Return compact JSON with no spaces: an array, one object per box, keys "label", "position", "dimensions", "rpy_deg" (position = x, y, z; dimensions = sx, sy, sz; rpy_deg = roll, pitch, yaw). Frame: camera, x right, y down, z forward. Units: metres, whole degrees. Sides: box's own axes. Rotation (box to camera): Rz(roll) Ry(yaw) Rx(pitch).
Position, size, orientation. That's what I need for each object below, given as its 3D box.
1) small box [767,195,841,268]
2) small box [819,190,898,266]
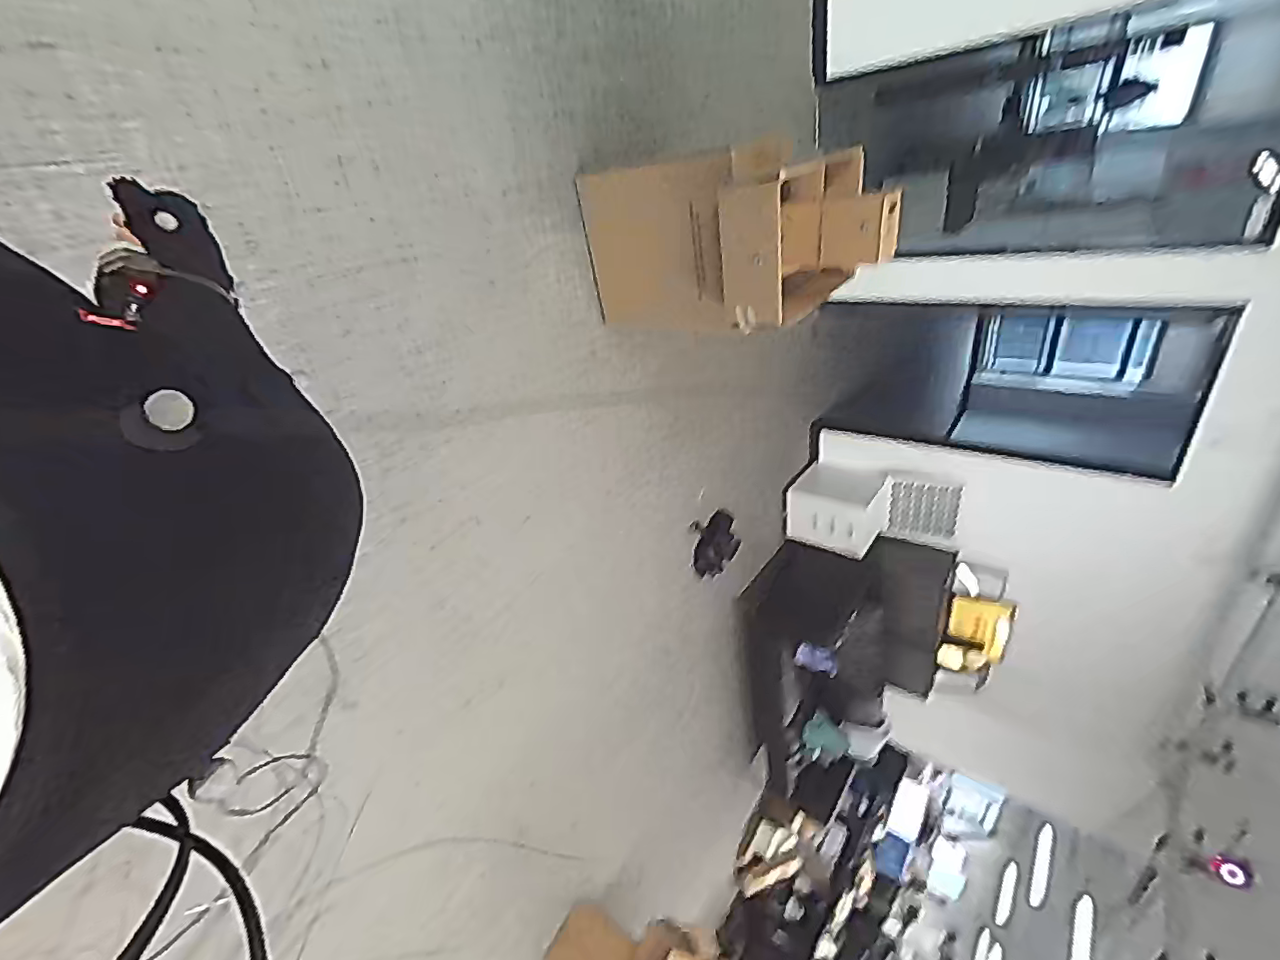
[{"label":"small box","position":[0.498,-0.758,1.651],"dimensions":[0.168,0.176,0.179],"rpy_deg":[-42,134,-40]},{"label":"small box","position":[0.626,-0.721,1.555],"dimensions":[0.168,0.176,0.179],"rpy_deg":[-38,131,-41]}]
